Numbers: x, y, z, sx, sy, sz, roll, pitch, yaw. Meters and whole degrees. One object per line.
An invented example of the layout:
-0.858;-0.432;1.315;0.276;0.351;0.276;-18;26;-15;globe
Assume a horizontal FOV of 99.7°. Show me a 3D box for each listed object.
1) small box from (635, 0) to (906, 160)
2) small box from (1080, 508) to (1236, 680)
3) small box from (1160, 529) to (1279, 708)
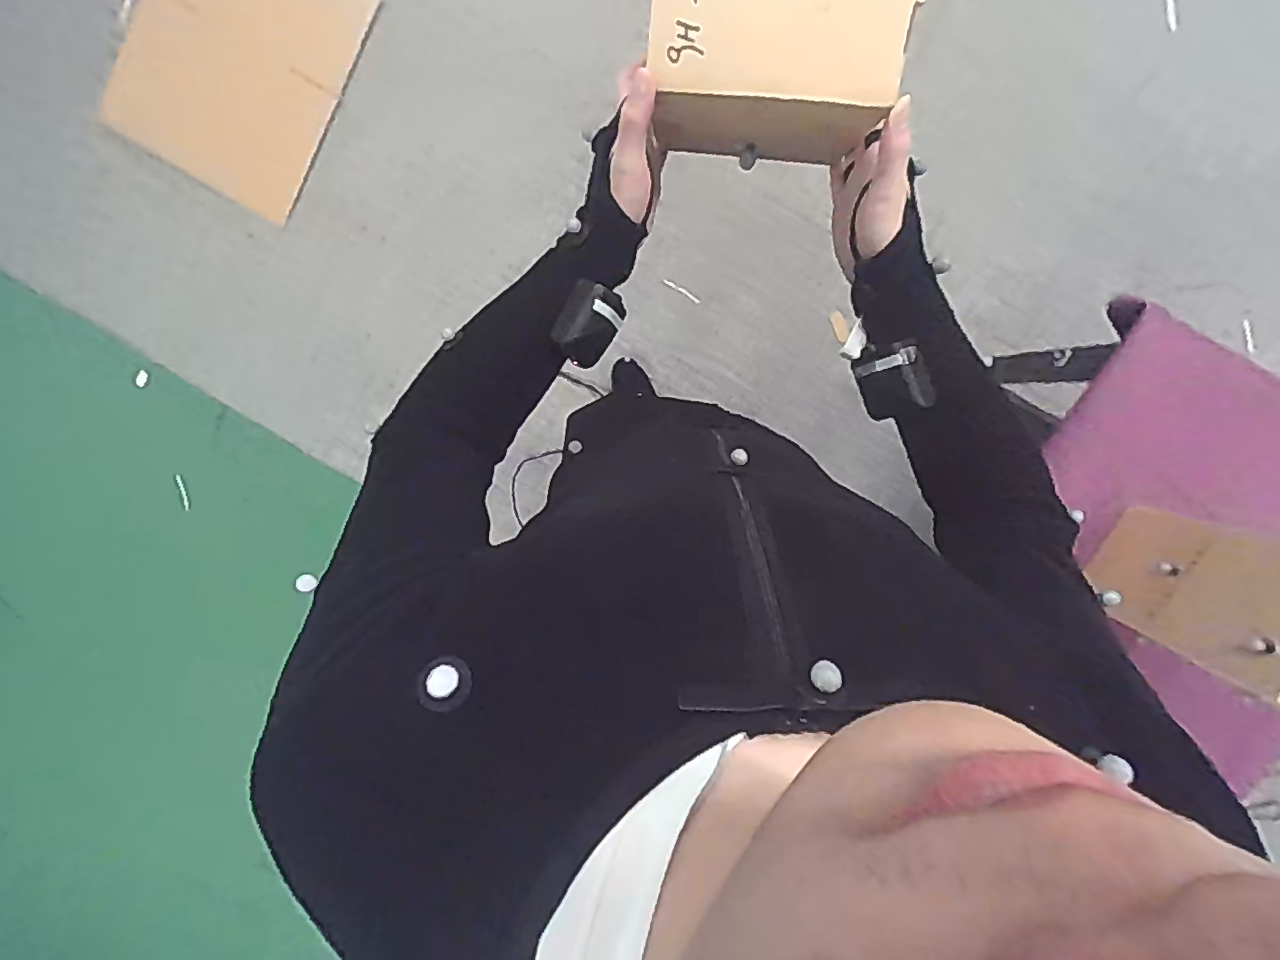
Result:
0.095;-0.367;0.424;0.179;0.176;0.168;6;108;2;small box
0.815;0.164;0.804;0.168;0.176;0.179;28;99;-1;small box
0.791;0.184;0.640;0.168;0.176;0.179;29;99;-2;small box
